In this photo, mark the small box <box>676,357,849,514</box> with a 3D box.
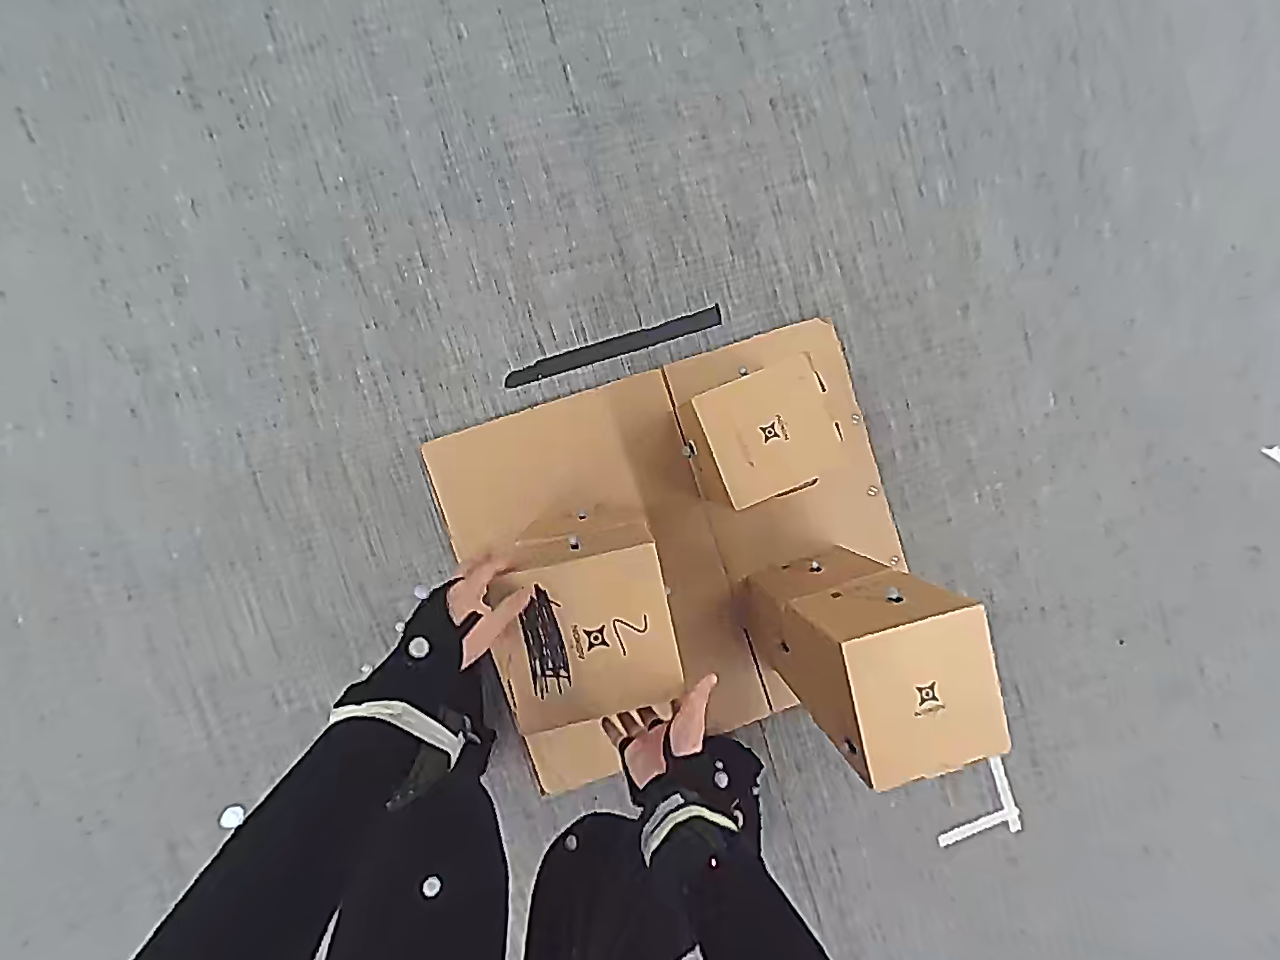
[{"bbox_3d":[0.169,-0.064,0.800,0.179,0.176,0.168,-23,93,-3],"label":"small box"}]

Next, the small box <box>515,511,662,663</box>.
[{"bbox_3d":[-0.070,0.144,0.786,0.179,0.176,0.168,-9,94,-3],"label":"small box"}]

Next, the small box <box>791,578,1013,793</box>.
[{"bbox_3d":[0.302,0.230,0.659,0.168,0.176,0.179,-15,95,-4],"label":"small box"}]
